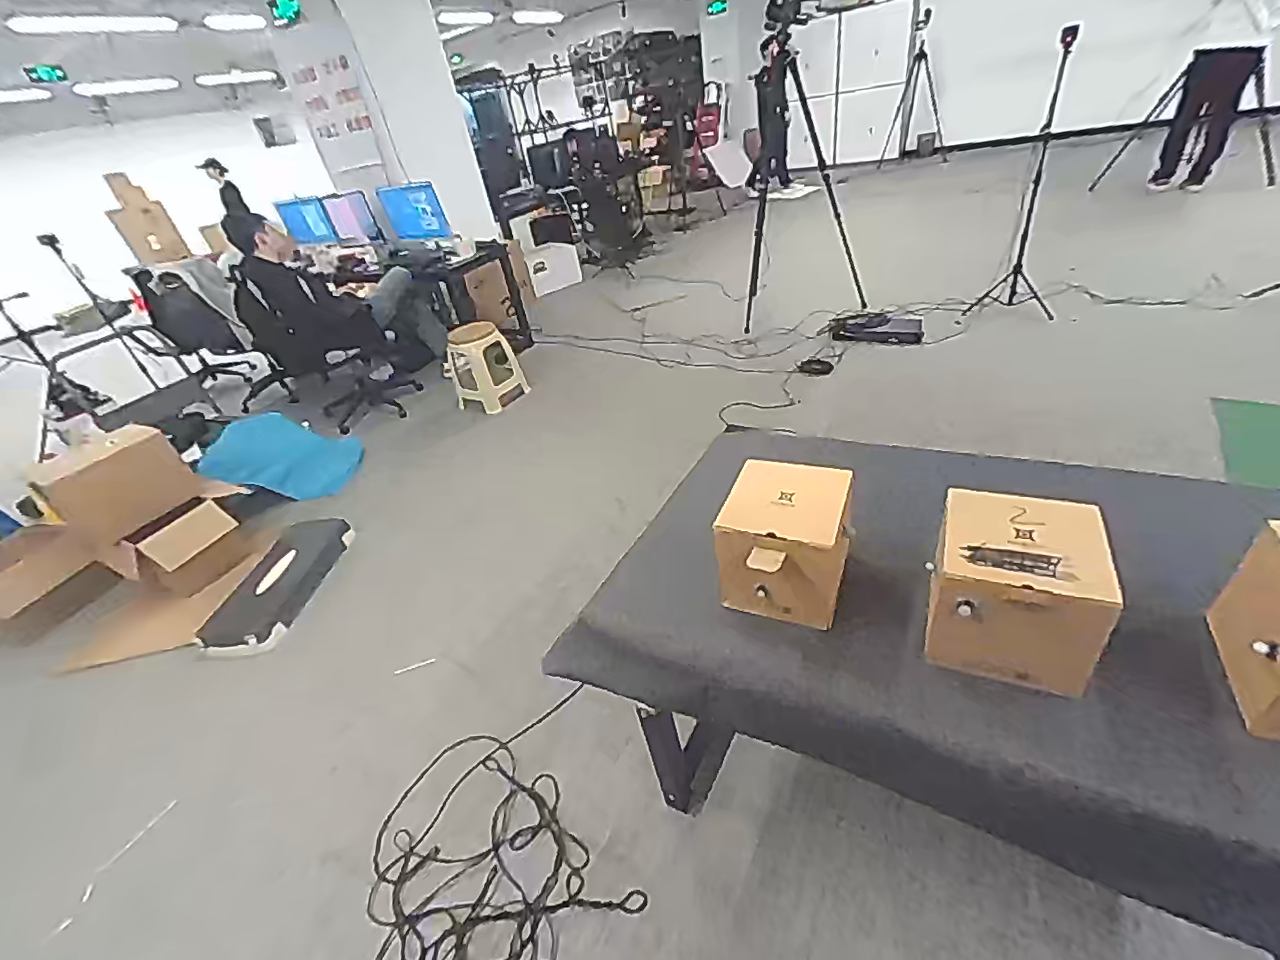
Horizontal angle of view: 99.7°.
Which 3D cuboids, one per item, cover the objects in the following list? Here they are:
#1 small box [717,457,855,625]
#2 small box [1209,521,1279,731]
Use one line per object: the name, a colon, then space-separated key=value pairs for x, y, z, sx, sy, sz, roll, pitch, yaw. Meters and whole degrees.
small box: x=0.227 y=0.089 z=0.833 sx=0.168 sy=0.176 sz=0.179 roll=8 pitch=40 yaw=26
small box: x=0.756 y=0.172 z=0.562 sx=0.168 sy=0.176 sz=0.179 roll=9 pitch=39 yaw=26
